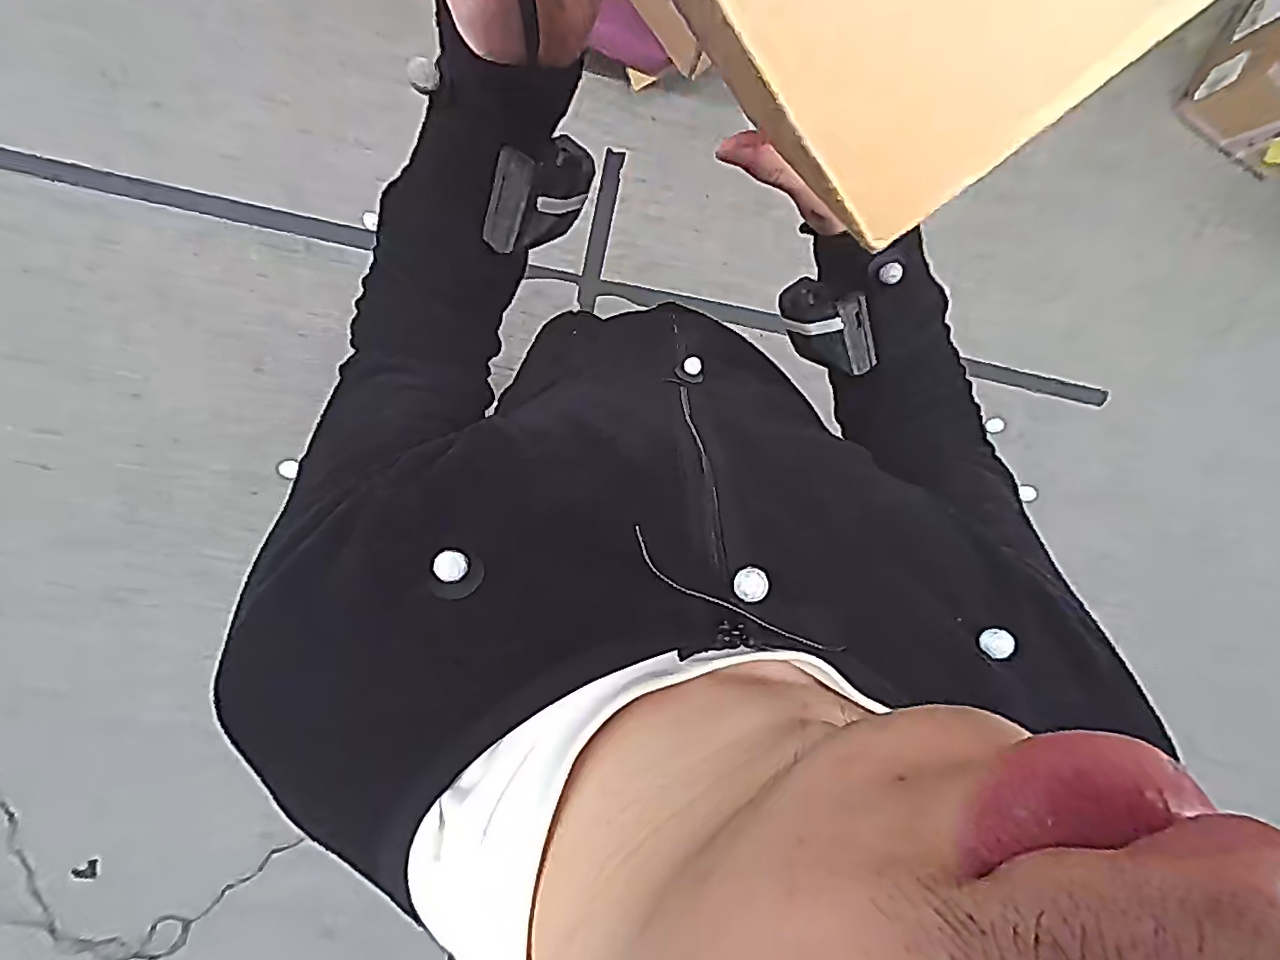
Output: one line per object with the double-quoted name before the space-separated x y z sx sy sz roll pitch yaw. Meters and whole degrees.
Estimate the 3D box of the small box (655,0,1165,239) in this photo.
"small box" 0.068 -0.215 0.146 0.179 0.176 0.168 -35 126 27
